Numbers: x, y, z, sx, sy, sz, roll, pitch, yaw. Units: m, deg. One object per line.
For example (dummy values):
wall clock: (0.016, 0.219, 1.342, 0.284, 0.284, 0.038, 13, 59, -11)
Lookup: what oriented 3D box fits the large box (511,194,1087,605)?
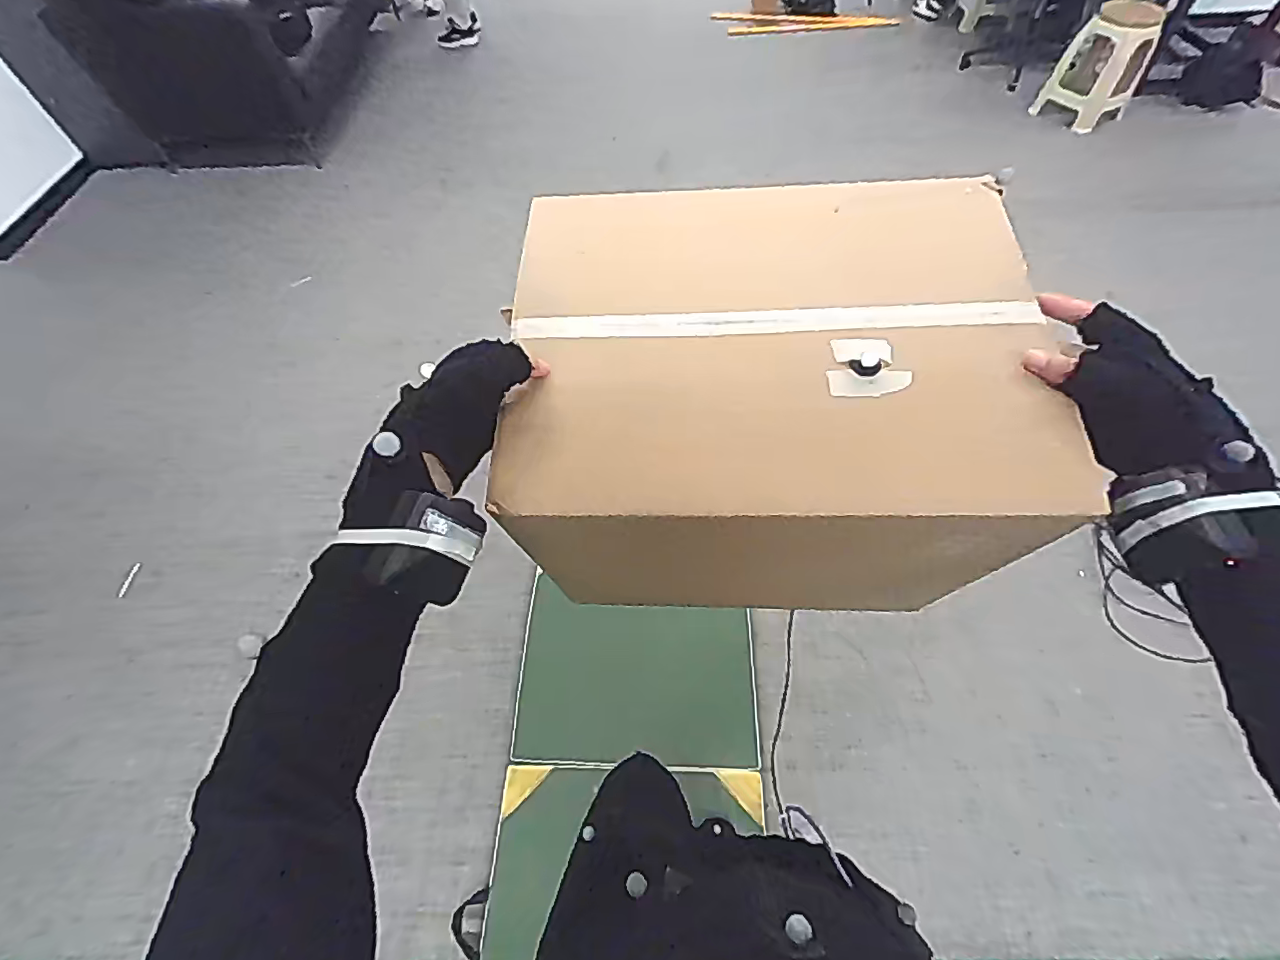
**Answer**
large box: (0.113, -0.055, 0.569, 0.408, 0.320, 0.320, 0, 66, 4)
